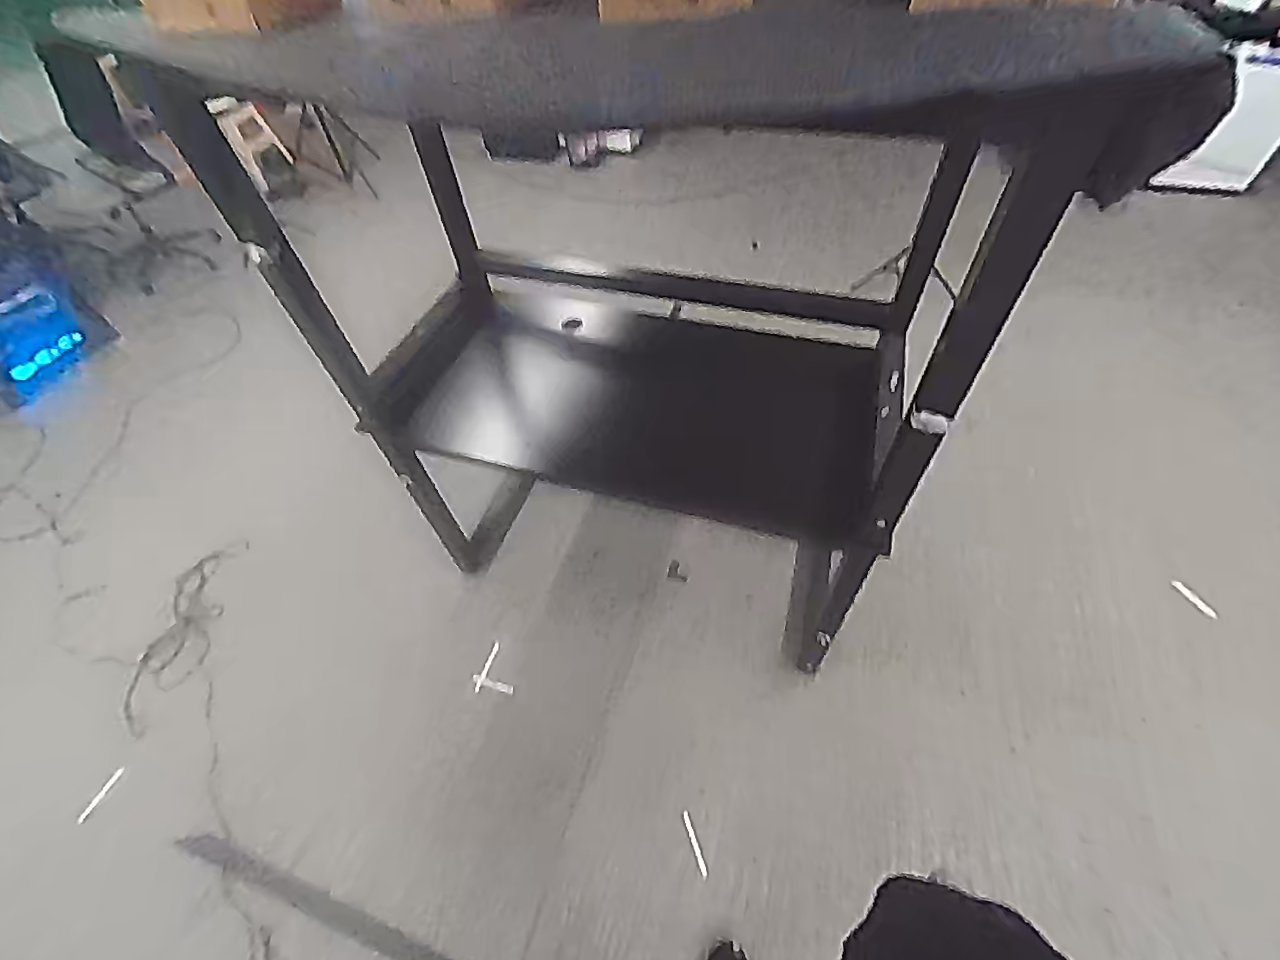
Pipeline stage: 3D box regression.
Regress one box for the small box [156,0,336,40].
[{"bbox_3d":[-0.519,-0.678,0.672,0.168,0.176,0.179,10,54,12],"label":"small box"}]
